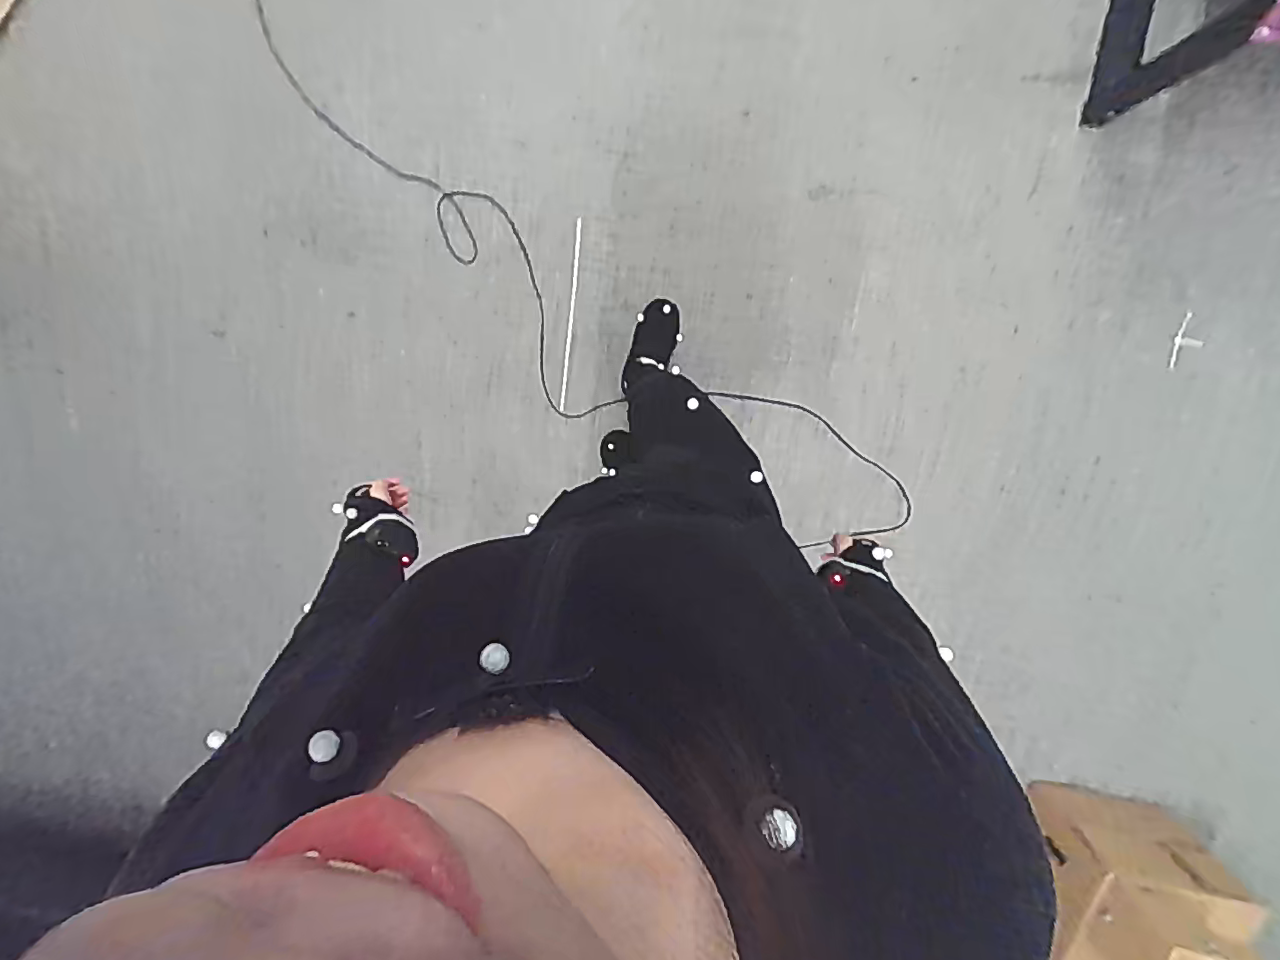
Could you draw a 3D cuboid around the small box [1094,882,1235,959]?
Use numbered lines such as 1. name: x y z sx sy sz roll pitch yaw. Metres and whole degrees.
1. small box: 1.210 1.089 1.248 0.168 0.176 0.179 14 104 1
